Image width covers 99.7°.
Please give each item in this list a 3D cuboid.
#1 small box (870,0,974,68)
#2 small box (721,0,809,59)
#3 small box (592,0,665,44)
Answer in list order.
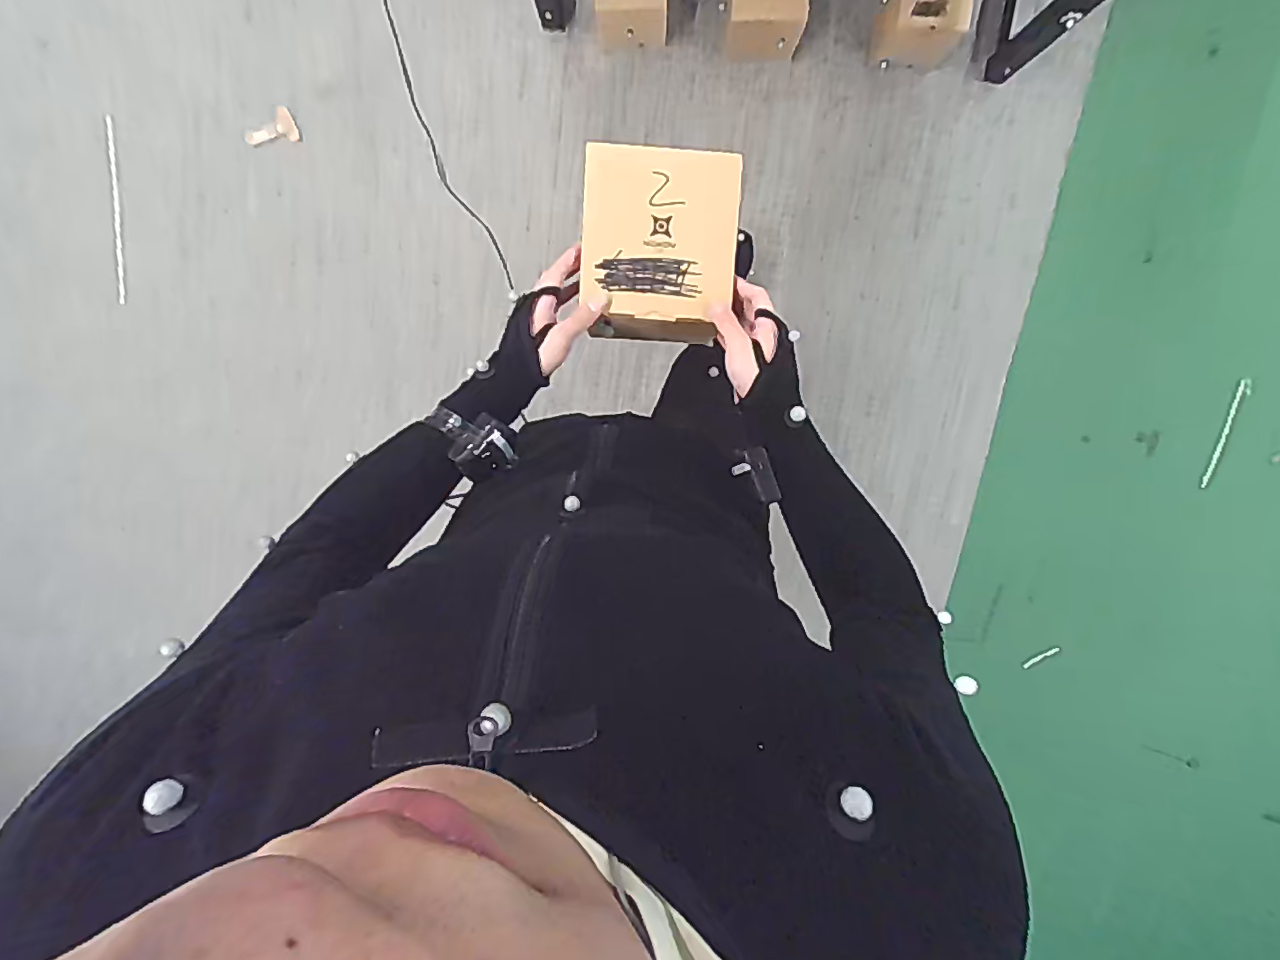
[{"bbox_3d":[0.661,-1.109,1.268,0.168,0.176,0.179,4,101,-1],"label":"small box"},{"bbox_3d":[0.293,-1.127,1.270,0.179,0.176,0.168,1,101,1],"label":"small box"},{"bbox_3d":[-0.024,-1.159,1.266,0.168,0.176,0.179,-1,102,1],"label":"small box"}]
